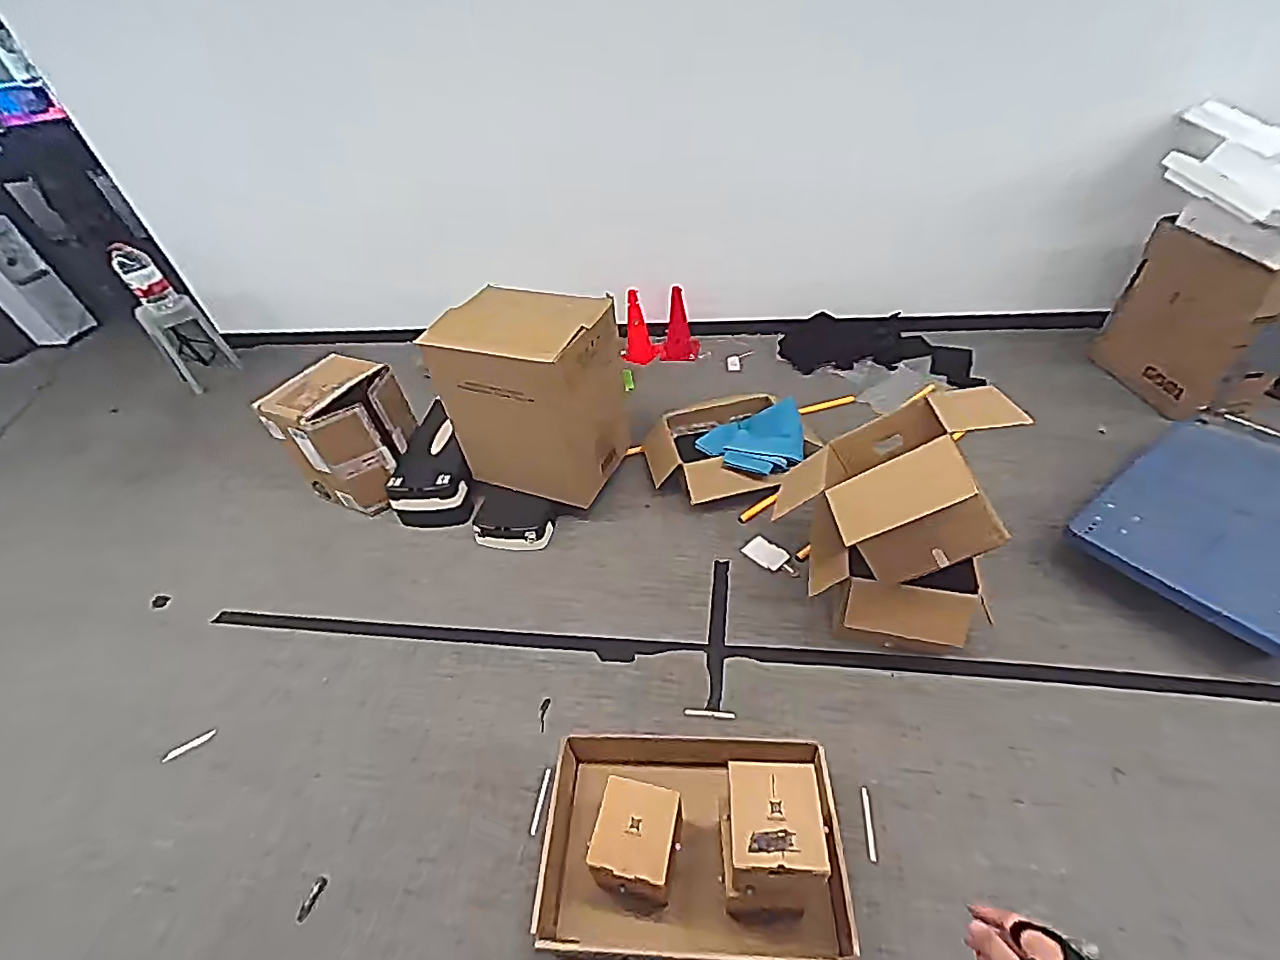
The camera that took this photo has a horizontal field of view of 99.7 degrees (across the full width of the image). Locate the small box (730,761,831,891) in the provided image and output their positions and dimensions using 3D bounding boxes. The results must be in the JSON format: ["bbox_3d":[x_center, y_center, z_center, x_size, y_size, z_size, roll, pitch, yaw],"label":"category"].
[{"bbox_3d":[0.259,0.663,1.034,0.168,0.176,0.179,-2,42,7],"label":"small box"}]

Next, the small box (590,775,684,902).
[{"bbox_3d":[0.000,0.787,1.186,0.168,0.176,0.179,6,44,13],"label":"small box"}]
